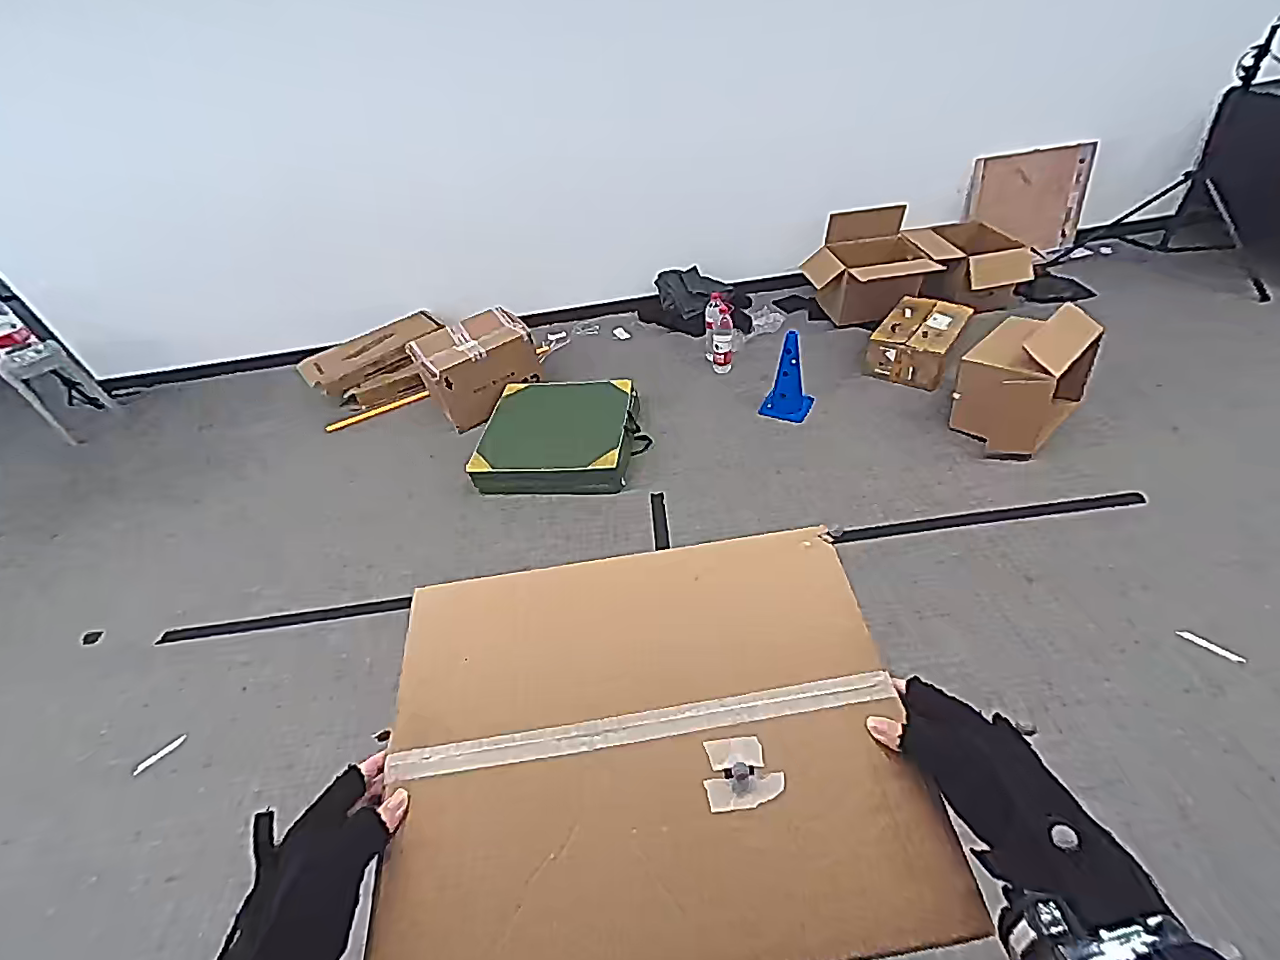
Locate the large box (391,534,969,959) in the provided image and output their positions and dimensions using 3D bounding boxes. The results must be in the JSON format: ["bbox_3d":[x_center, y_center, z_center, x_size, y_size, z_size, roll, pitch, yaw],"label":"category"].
[{"bbox_3d":[0.017,0.295,0.564,0.408,0.320,0.320,-9,52,-2],"label":"large box"}]
